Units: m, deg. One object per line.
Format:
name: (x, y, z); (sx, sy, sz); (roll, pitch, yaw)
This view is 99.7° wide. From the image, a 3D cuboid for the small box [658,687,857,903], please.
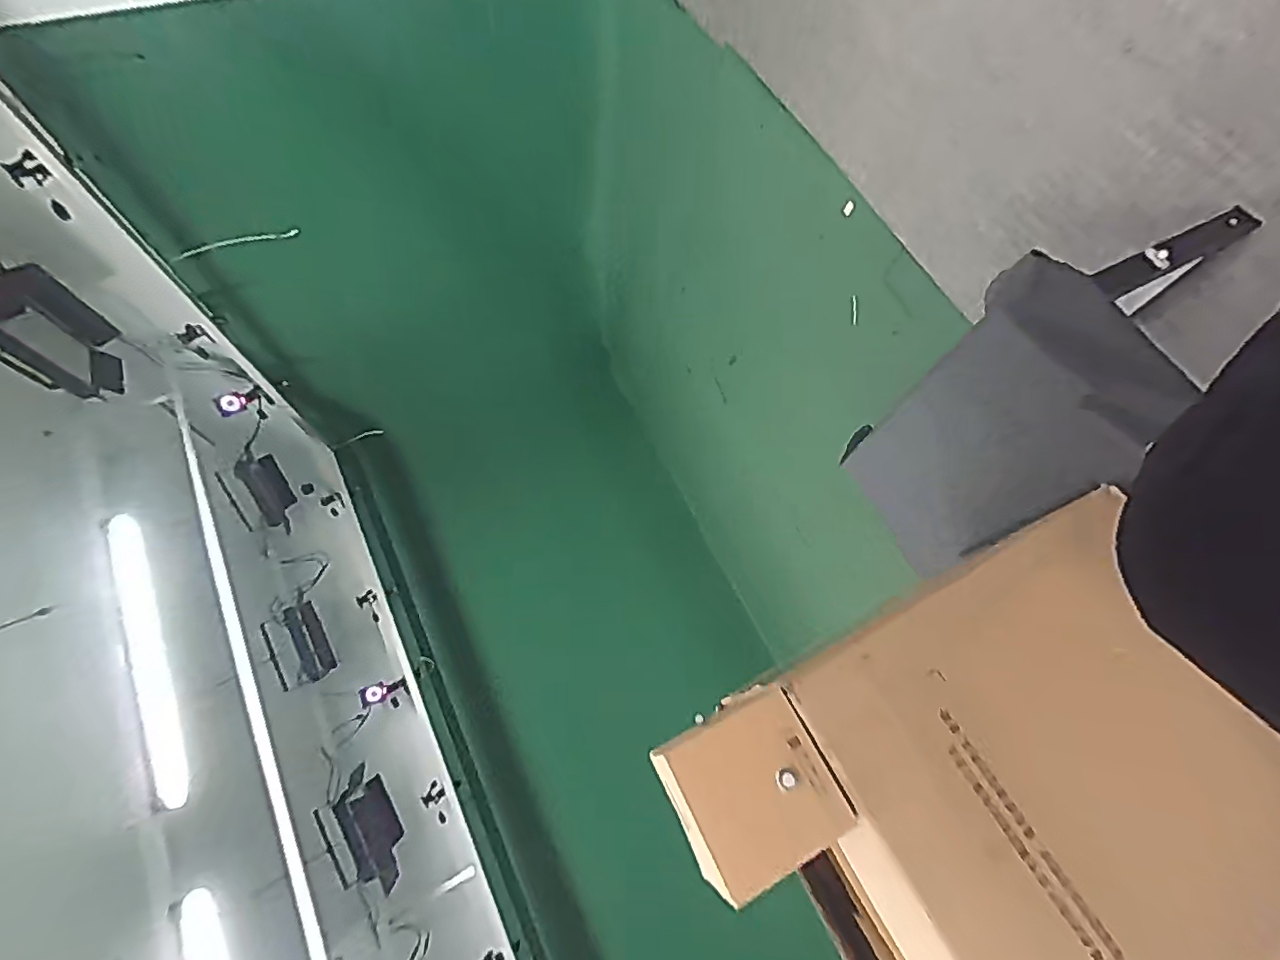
small box: (0.141, 0.386, 0.693); (0.168, 0.176, 0.179); (61, 163, 21)
